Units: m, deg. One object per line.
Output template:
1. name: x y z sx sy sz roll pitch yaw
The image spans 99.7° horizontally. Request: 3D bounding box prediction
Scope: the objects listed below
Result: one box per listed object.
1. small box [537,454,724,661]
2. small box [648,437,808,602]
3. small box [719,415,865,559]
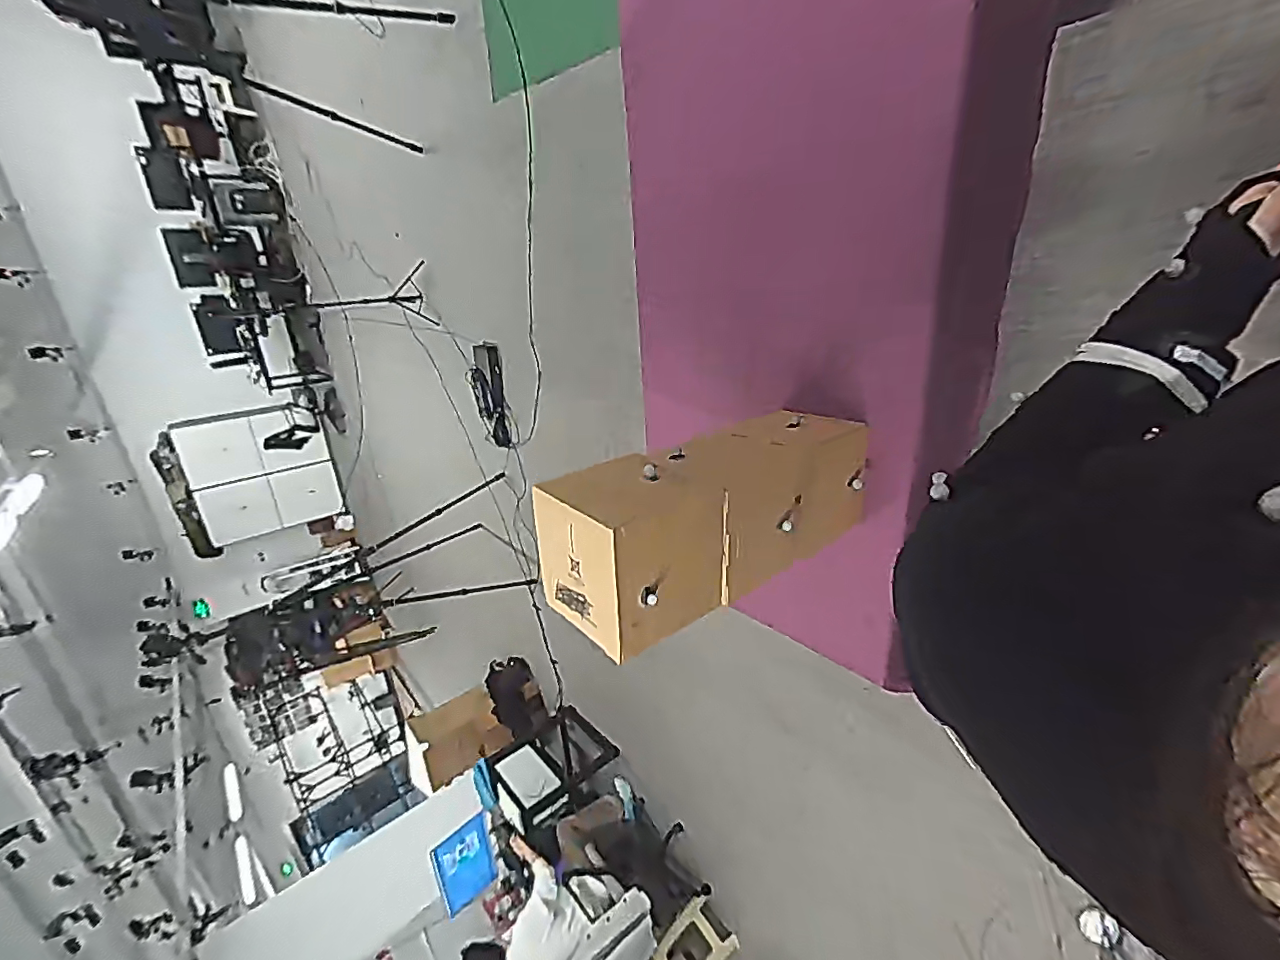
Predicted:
1. small box: -0.009 0.084 0.683 0.168 0.176 0.179 22 122 45
2. small box: 0.116 0.043 0.781 0.179 0.176 0.168 20 122 46
3. small box: 0.244 -0.002 0.876 0.168 0.176 0.179 19 120 47
